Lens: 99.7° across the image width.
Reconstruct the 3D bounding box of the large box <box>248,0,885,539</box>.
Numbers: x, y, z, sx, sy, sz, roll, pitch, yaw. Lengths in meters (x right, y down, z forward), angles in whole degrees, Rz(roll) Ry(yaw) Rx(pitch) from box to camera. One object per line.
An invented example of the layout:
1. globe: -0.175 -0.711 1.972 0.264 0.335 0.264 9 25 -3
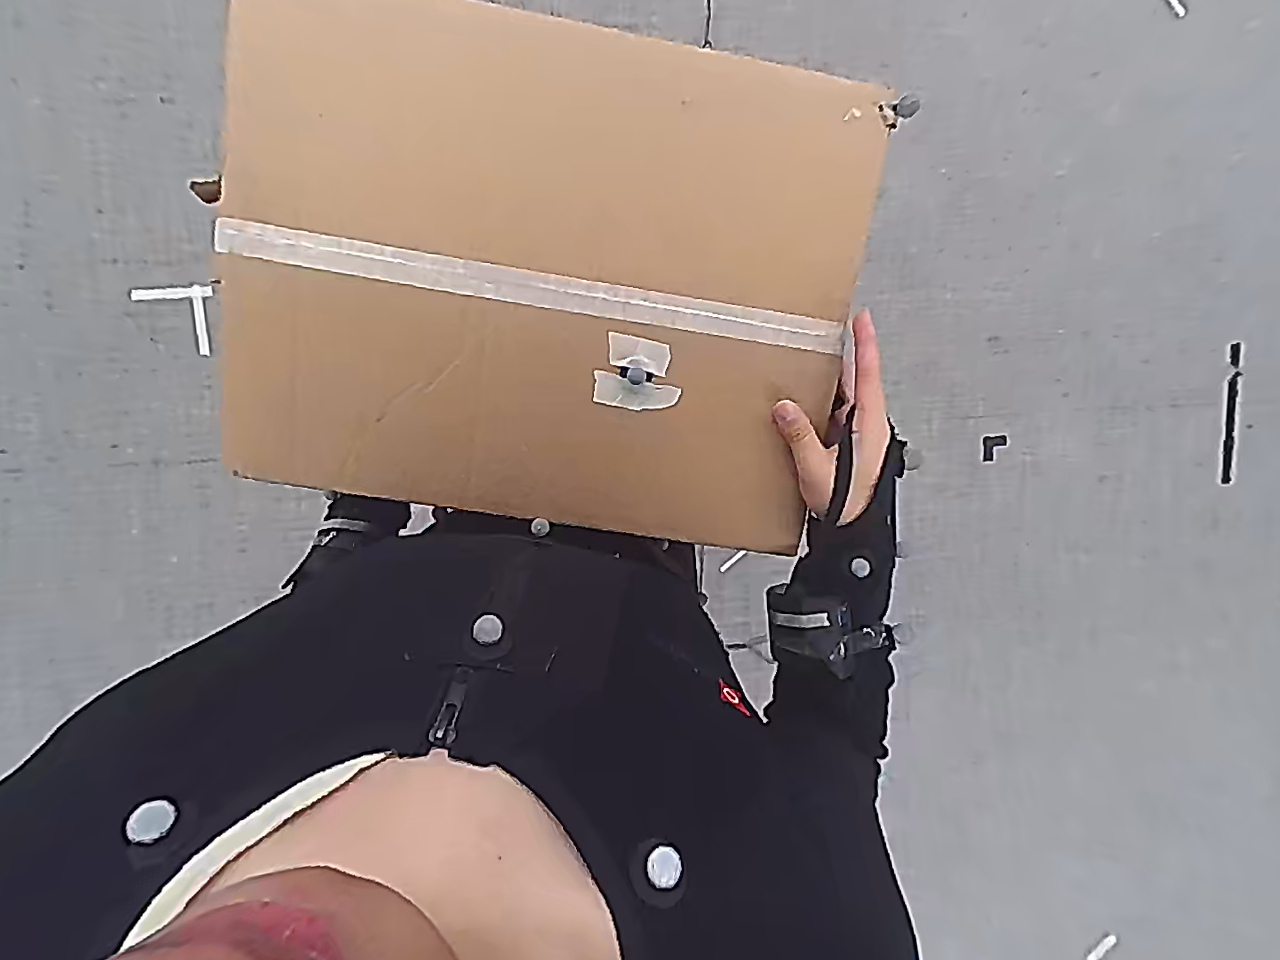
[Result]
1. large box: -0.064 -0.154 0.510 0.408 0.320 0.320 8 101 -5
